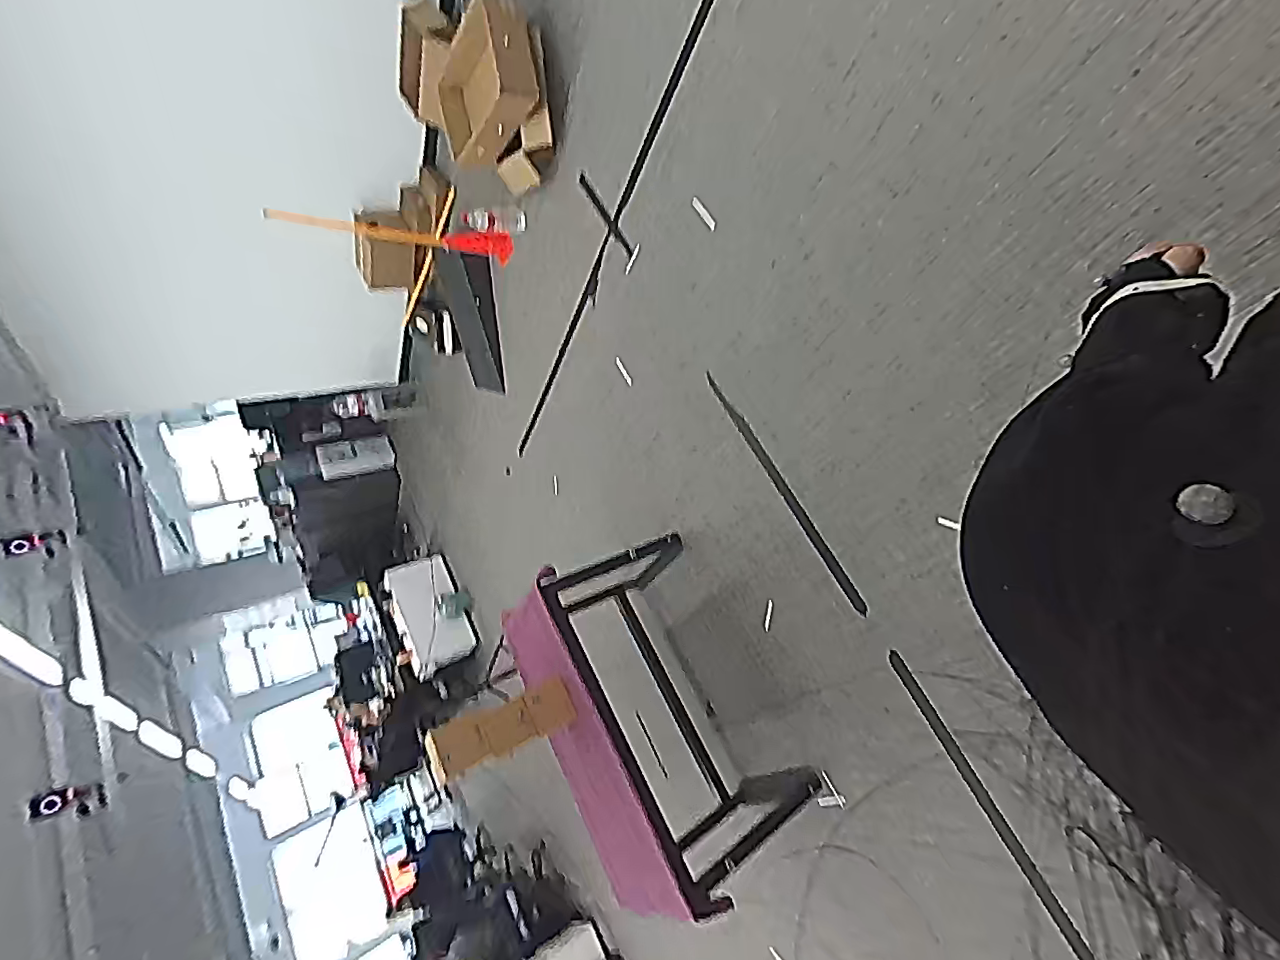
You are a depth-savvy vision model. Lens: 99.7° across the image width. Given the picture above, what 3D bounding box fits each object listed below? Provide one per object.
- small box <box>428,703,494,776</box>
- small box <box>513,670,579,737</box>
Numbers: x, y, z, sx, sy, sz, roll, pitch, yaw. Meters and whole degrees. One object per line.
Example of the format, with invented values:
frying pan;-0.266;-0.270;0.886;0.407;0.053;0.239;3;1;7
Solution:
small box;-0.632;0.916;1.909;0.168;0.176;0.179;60;143;19
small box;-0.364;0.857;2.090;0.179;0.176;0.168;59;143;19
